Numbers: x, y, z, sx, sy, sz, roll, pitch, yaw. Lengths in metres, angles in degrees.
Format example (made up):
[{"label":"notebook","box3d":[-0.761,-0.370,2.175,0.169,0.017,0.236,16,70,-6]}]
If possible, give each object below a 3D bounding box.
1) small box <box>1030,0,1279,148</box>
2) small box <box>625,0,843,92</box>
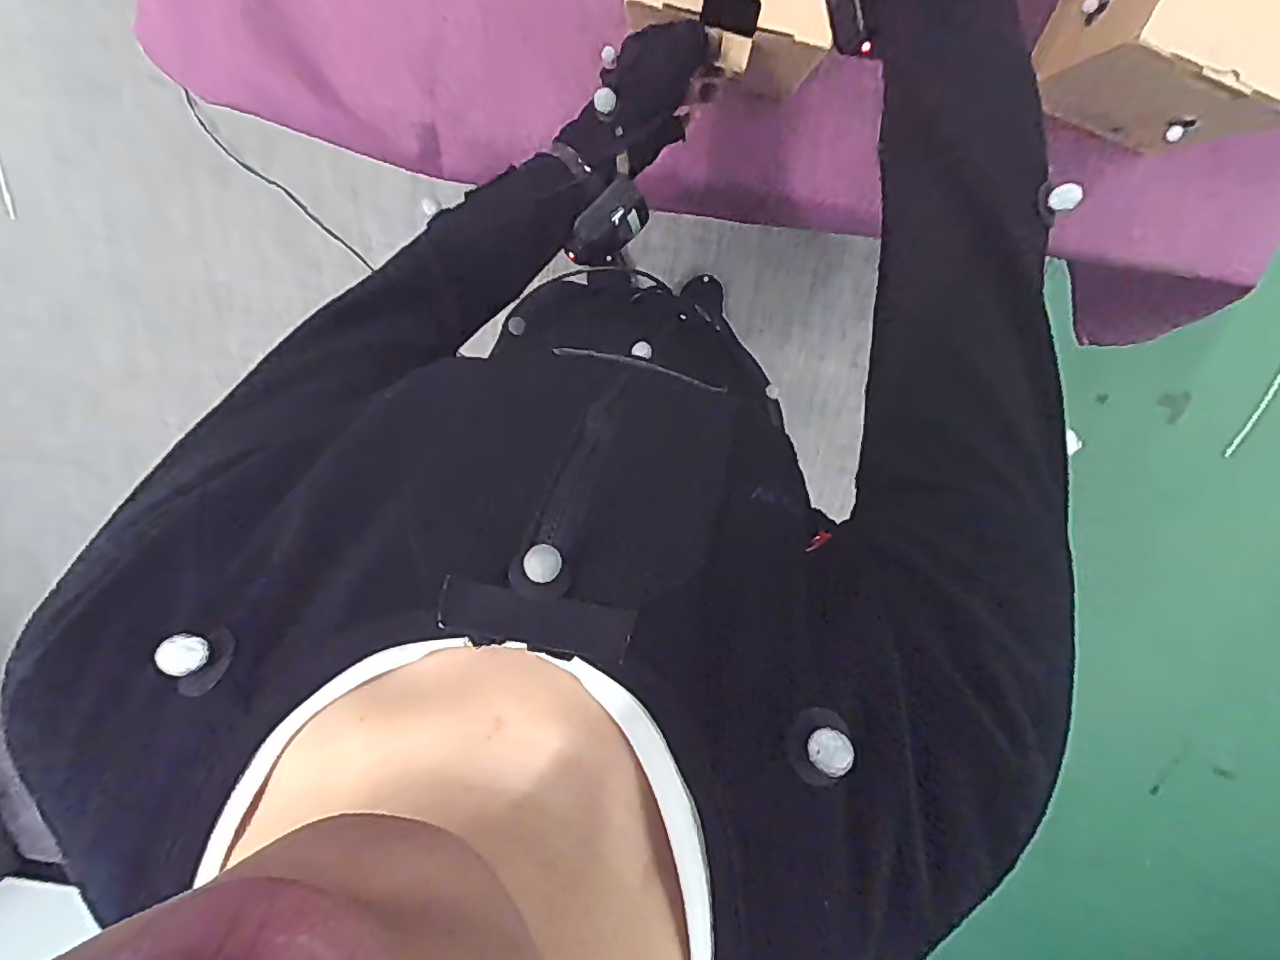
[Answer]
[{"label":"small box","box3d":[0.476,-0.405,0.448,0.168,0.176,0.179,19,113,-5]},{"label":"small box","box3d":[0.090,-0.456,0.450,0.168,0.176,0.179,12,114,-2]}]
